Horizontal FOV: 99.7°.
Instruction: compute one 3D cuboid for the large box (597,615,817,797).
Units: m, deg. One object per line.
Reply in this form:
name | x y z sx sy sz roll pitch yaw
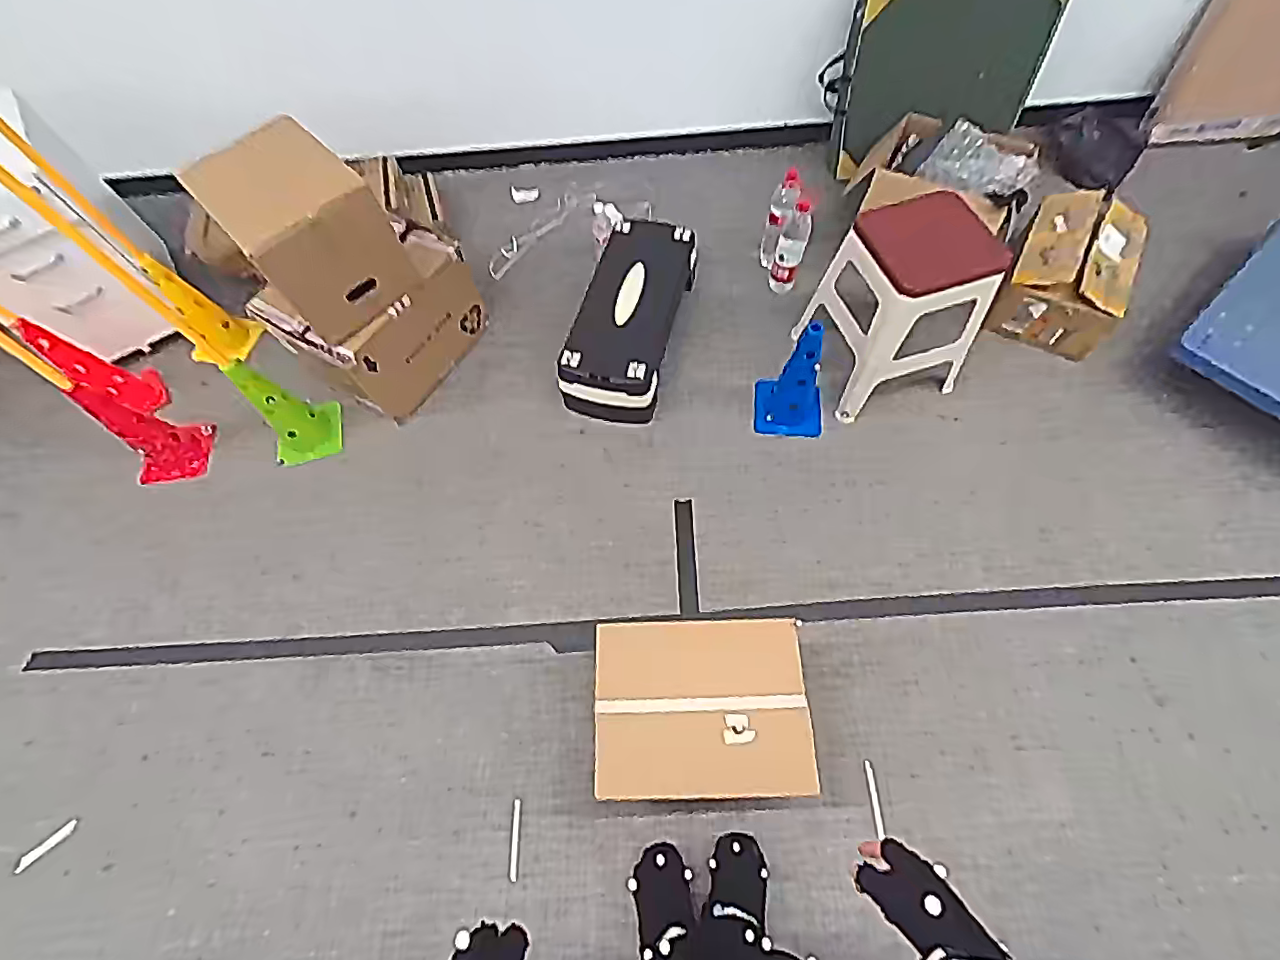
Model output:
large box | 0.120 0.490 1.174 0.408 0.320 0.320 -2 65 1
